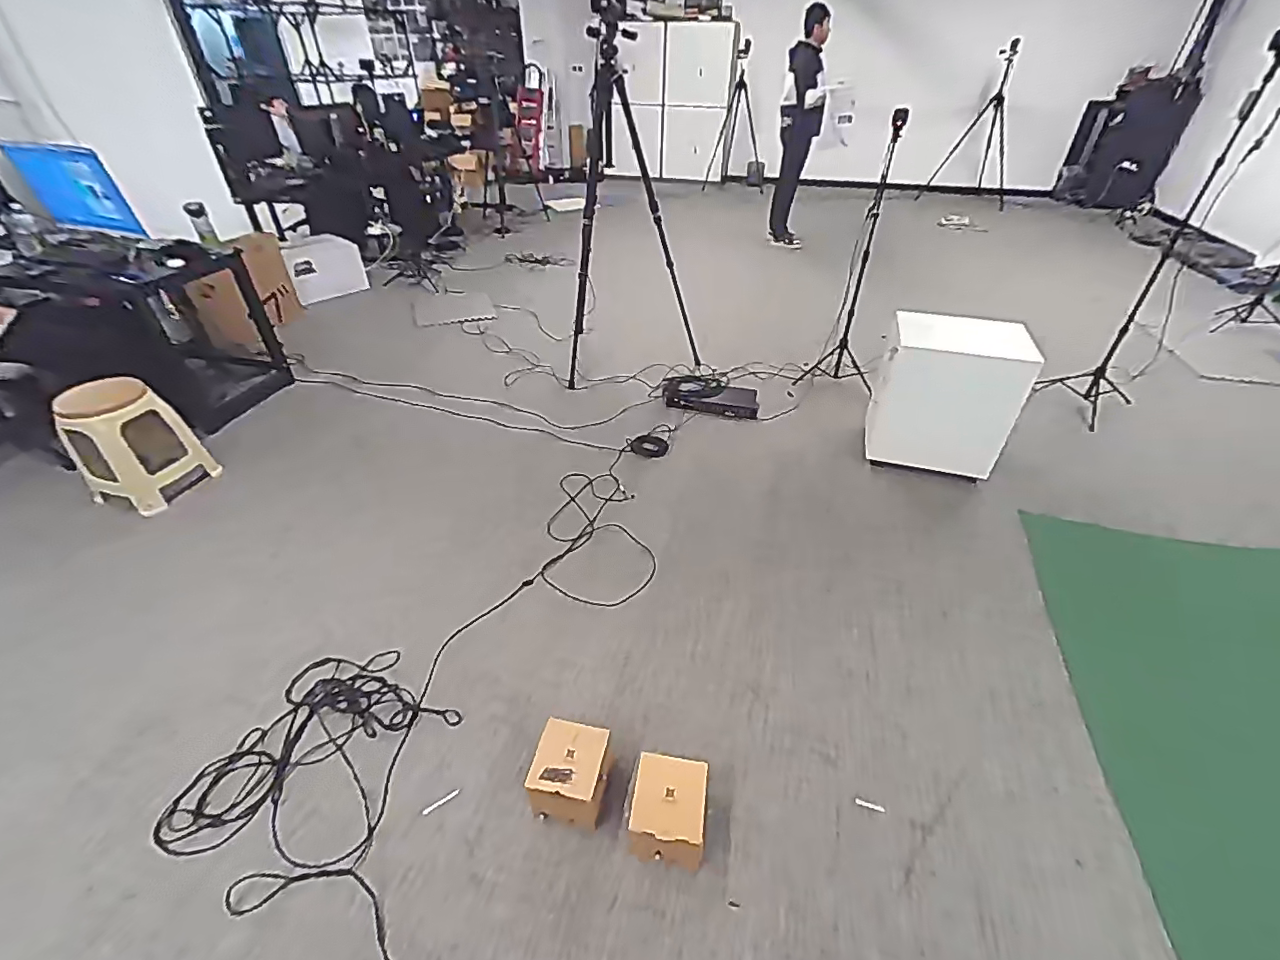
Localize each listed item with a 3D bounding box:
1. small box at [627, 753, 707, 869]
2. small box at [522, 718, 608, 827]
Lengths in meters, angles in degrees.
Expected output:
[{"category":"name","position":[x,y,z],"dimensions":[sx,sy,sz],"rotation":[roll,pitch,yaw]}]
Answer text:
[{"category":"small box","position":[0.064,0.790,1.292],"dimensions":[0.168,0.176,0.179],"rotation":[6,40,8]},{"category":"small box","position":[-0.177,0.735,1.355],"dimensions":[0.168,0.176,0.179],"rotation":[8,38,10]}]
